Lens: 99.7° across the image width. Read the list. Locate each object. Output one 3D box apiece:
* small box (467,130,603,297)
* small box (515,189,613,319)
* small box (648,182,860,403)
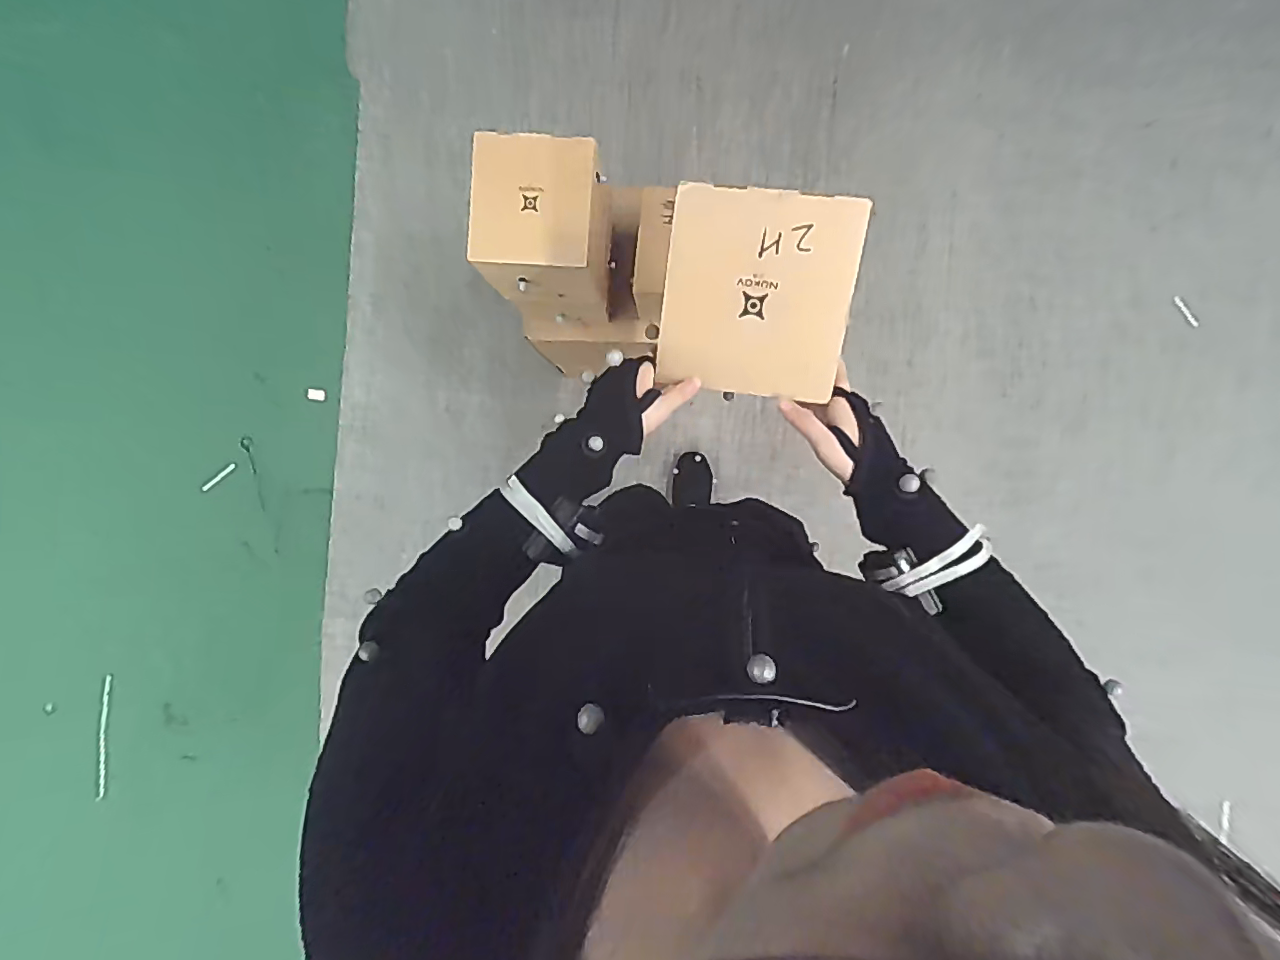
[{"bbox_3d":[-0.148,-0.386,0.812,0.168,0.176,0.179,4,93,1],"label":"small box"},{"bbox_3d":[-0.140,-0.404,0.974,0.168,0.176,0.179,5,94,1],"label":"small box"},{"bbox_3d":[0.108,-0.188,0.567,0.168,0.176,0.179,9,106,4],"label":"small box"}]
